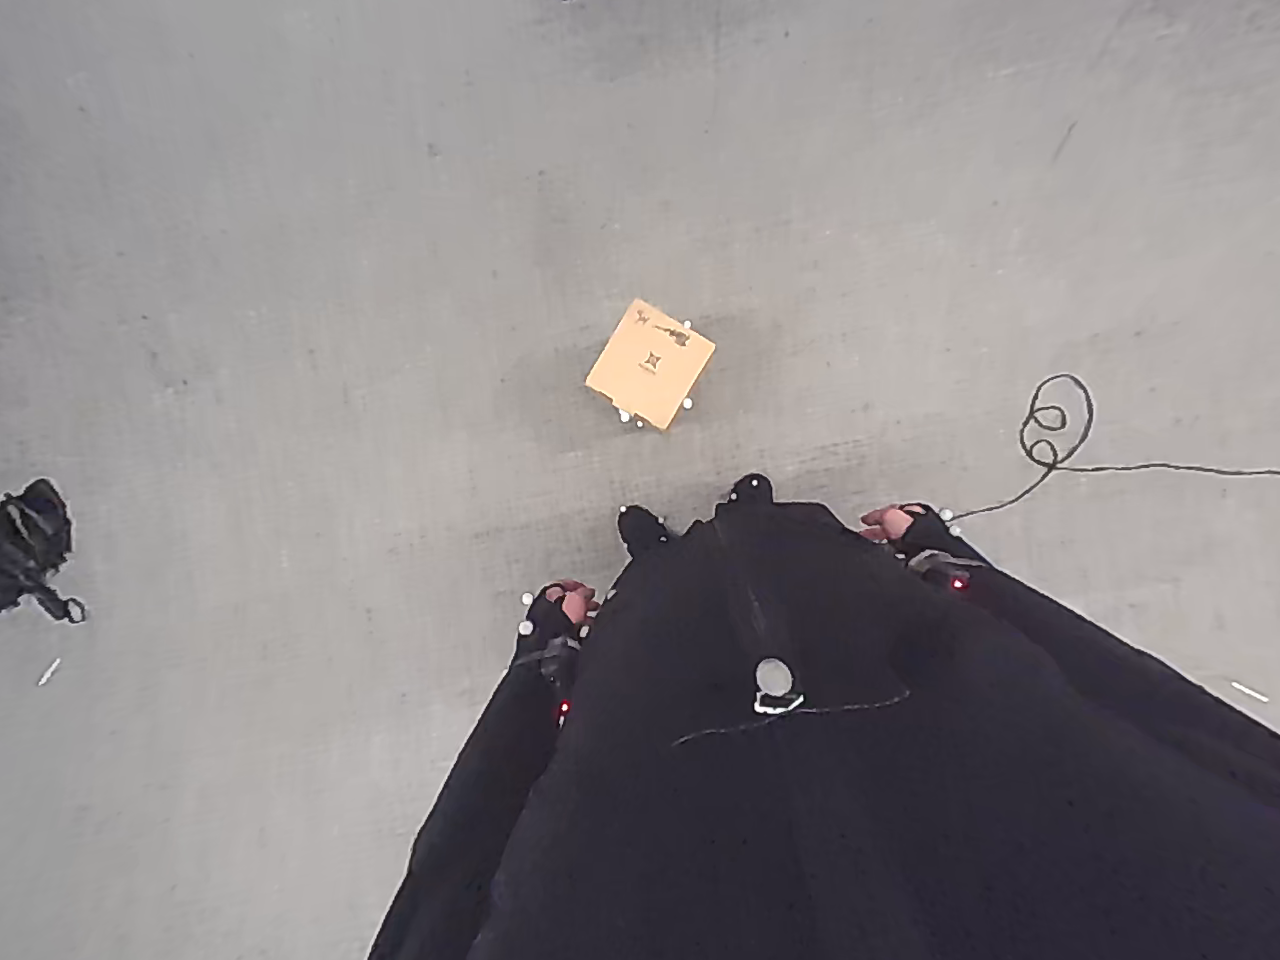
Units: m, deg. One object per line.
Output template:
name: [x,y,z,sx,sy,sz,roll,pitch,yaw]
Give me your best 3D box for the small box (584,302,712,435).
small box: [0.019,-0.196,1.014,0.168,0.176,0.179,32,93,1]
